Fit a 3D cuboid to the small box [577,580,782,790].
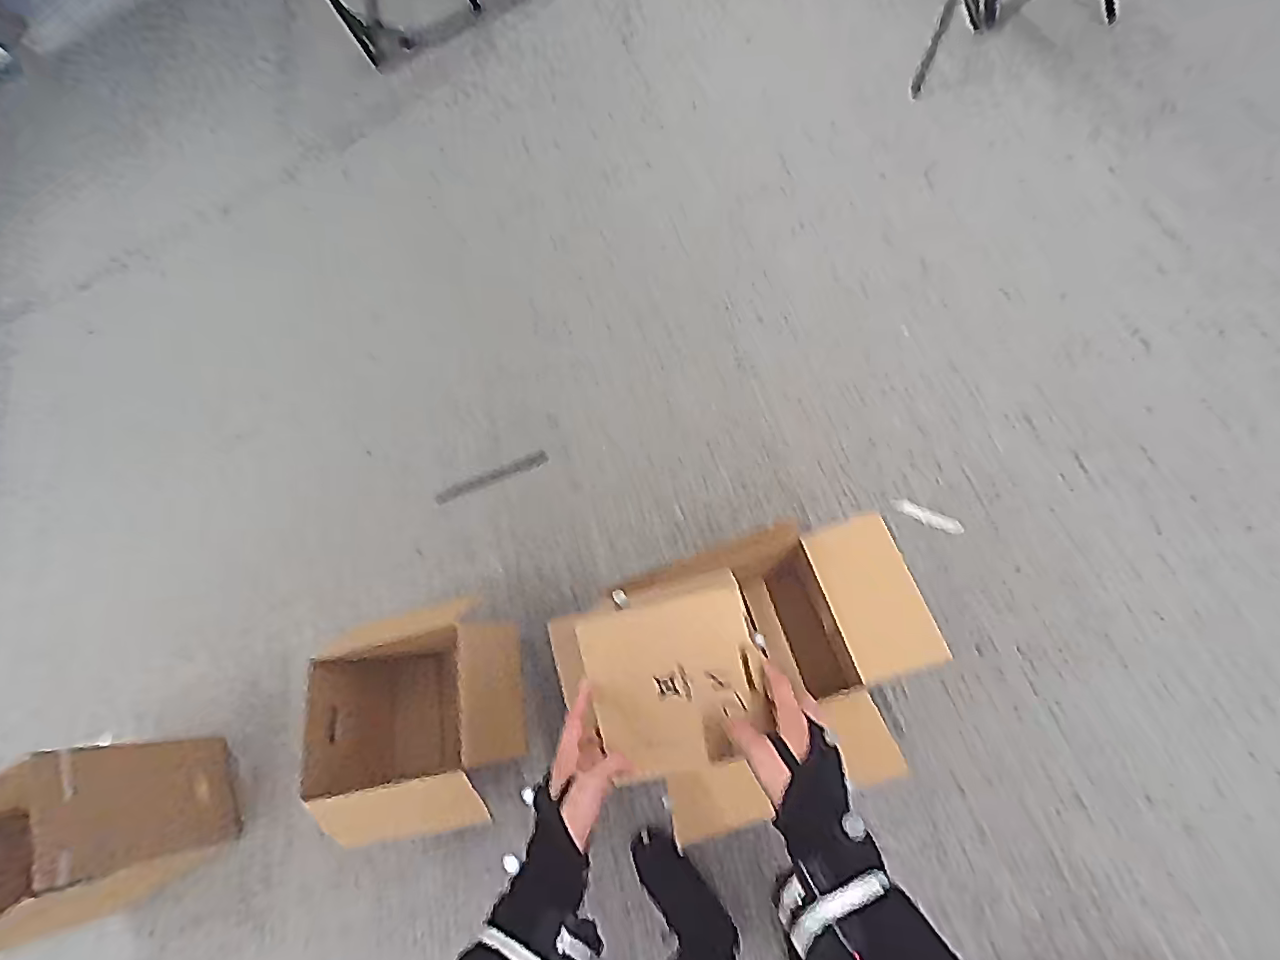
[{"bbox_3d":[0.046,0.216,0.612,0.179,0.176,0.168,-14,84,5],"label":"small box"}]
